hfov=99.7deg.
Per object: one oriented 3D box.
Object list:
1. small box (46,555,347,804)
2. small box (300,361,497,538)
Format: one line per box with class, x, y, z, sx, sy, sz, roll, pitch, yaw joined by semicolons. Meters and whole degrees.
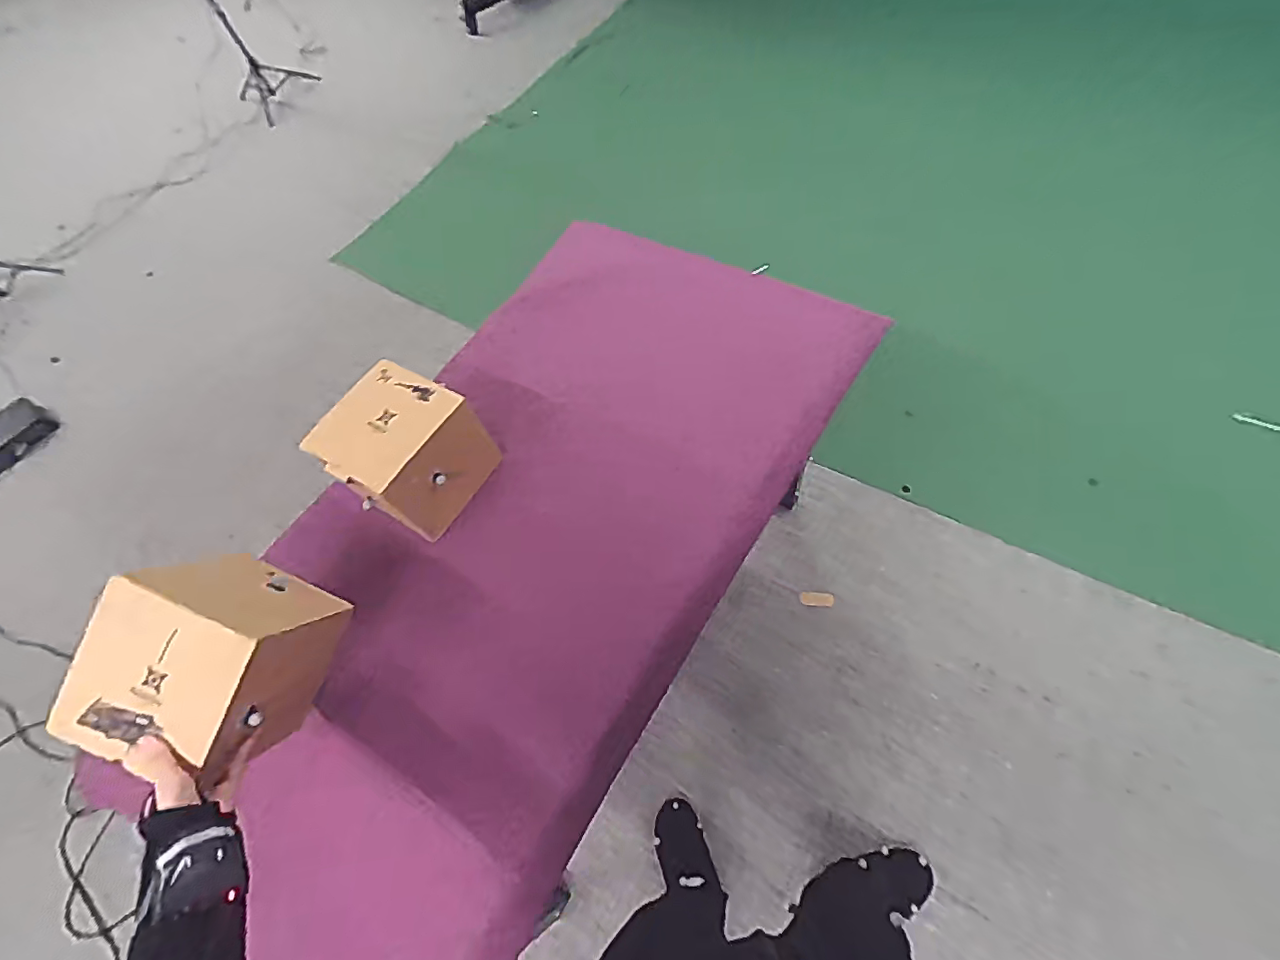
small box;-0.467;0.201;0.600;0.168;0.176;0.179;24;91;2
small box;-0.345;-0.039;0.811;0.168;0.176;0.179;26;69;19
